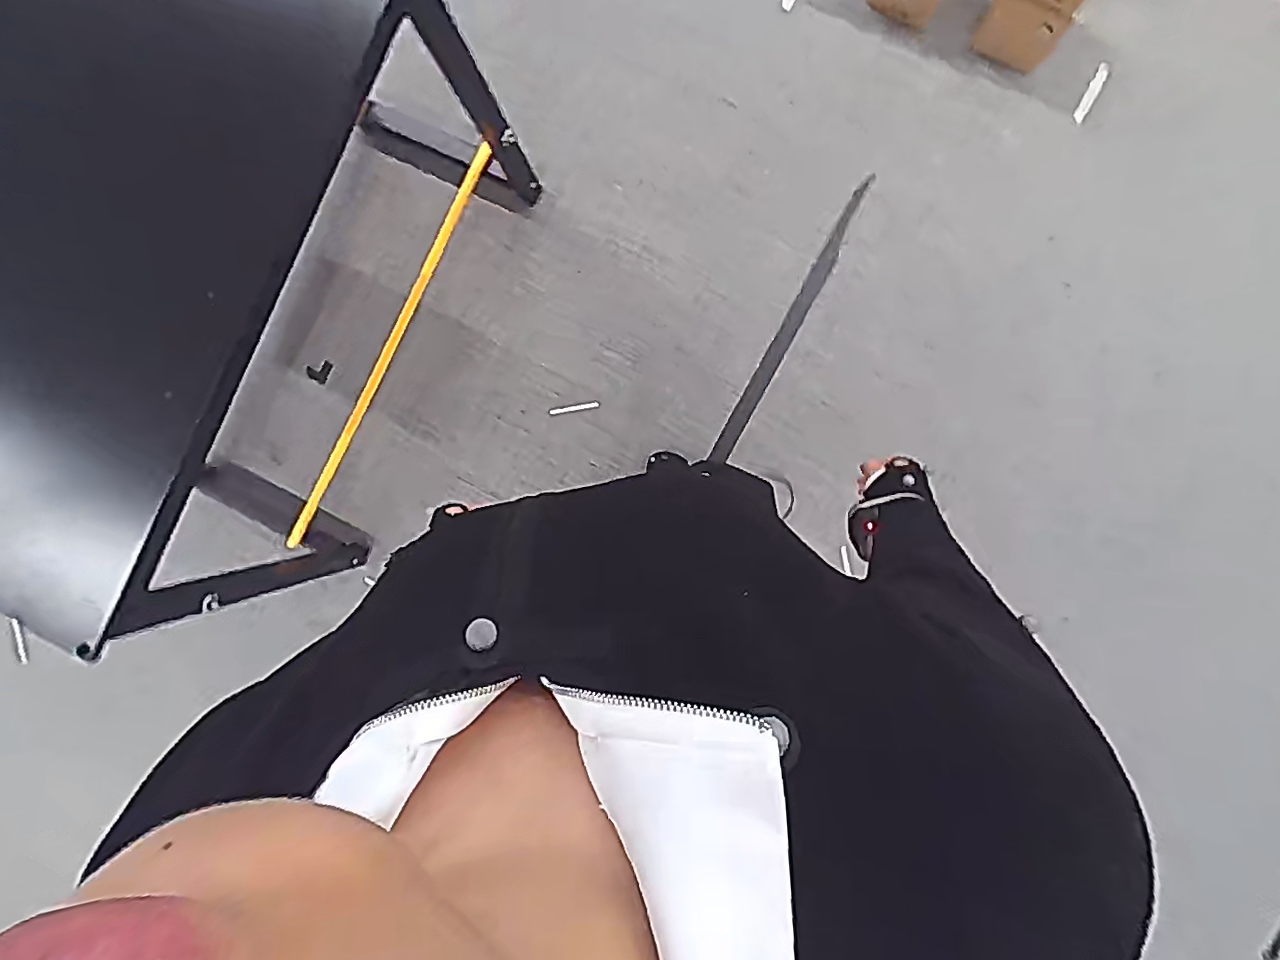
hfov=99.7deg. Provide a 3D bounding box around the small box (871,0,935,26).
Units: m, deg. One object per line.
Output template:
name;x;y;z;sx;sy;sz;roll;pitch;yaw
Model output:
small box;0.687;-1.282;1.326;0.168;0.176;0.179;30;94;3

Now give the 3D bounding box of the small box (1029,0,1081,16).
small box;0.933;-1.162;1.148;0.168;0.176;0.179;28;95;4

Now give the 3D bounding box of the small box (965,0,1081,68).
small box;0.944;-1.154;1.311;0.179;0.176;0.168;26;93;3
